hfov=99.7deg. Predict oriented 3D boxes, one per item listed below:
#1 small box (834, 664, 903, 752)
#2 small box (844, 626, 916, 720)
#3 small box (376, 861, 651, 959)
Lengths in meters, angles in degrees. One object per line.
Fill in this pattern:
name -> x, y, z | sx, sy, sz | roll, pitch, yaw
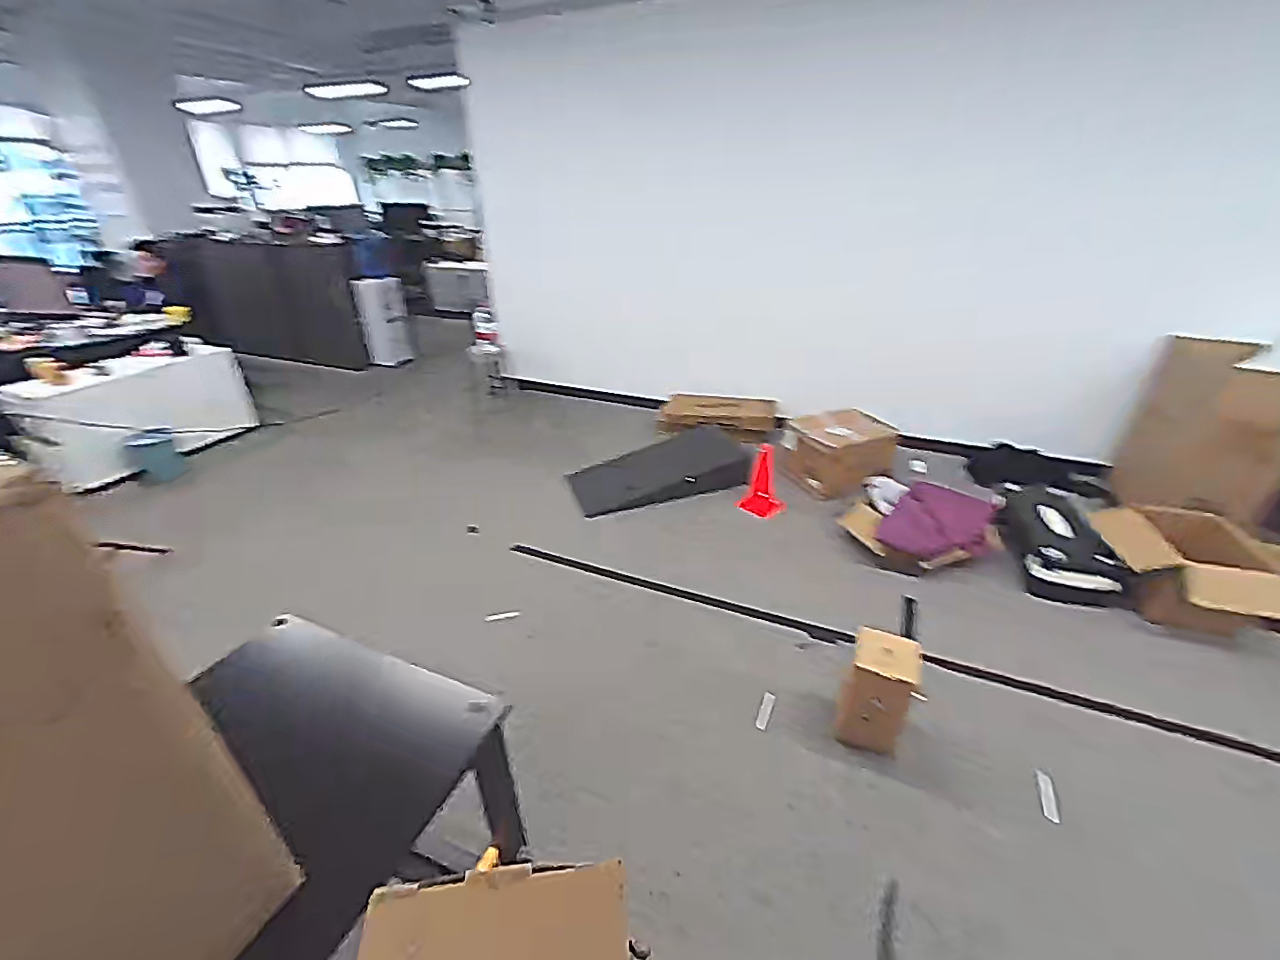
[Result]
small box -> 0.715, 0.719, 1.701 | 0.179, 0.176, 0.168 | 10, 31, 18
small box -> 0.718, 0.576, 1.620 | 0.168, 0.176, 0.179 | 12, 32, 22
small box -> -0.074, 0.372, 0.349 | 0.168, 0.176, 0.179 | -3, 46, -3
